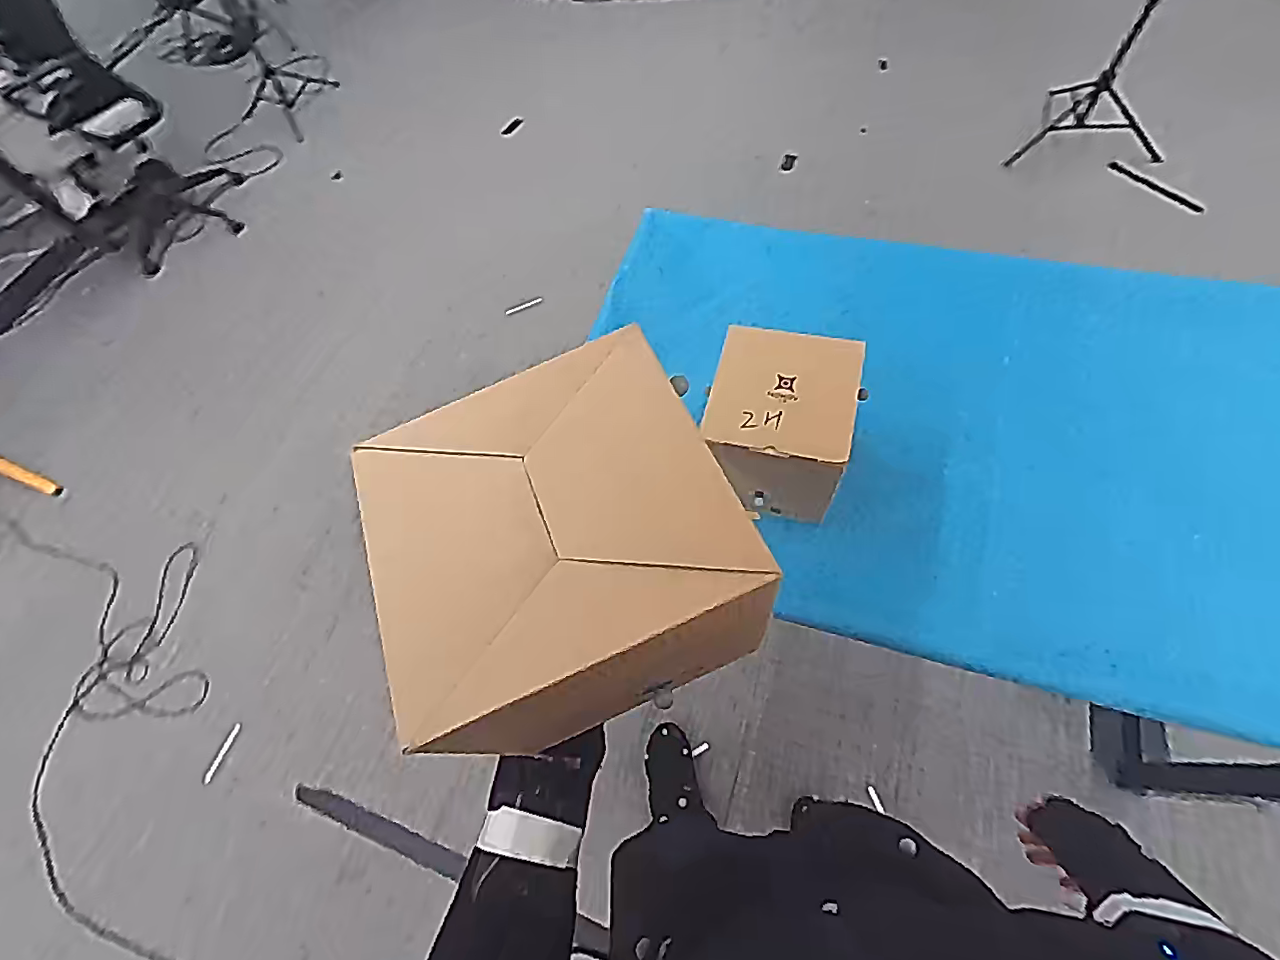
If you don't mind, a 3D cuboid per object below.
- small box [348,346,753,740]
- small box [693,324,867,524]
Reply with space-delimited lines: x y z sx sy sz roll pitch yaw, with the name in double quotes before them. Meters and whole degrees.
"small box" -0.042 0.045 0.337 0.179 0.176 0.168 -24 61 -3
"small box" 0.175 -0.067 0.698 0.168 0.176 0.179 15 69 16
